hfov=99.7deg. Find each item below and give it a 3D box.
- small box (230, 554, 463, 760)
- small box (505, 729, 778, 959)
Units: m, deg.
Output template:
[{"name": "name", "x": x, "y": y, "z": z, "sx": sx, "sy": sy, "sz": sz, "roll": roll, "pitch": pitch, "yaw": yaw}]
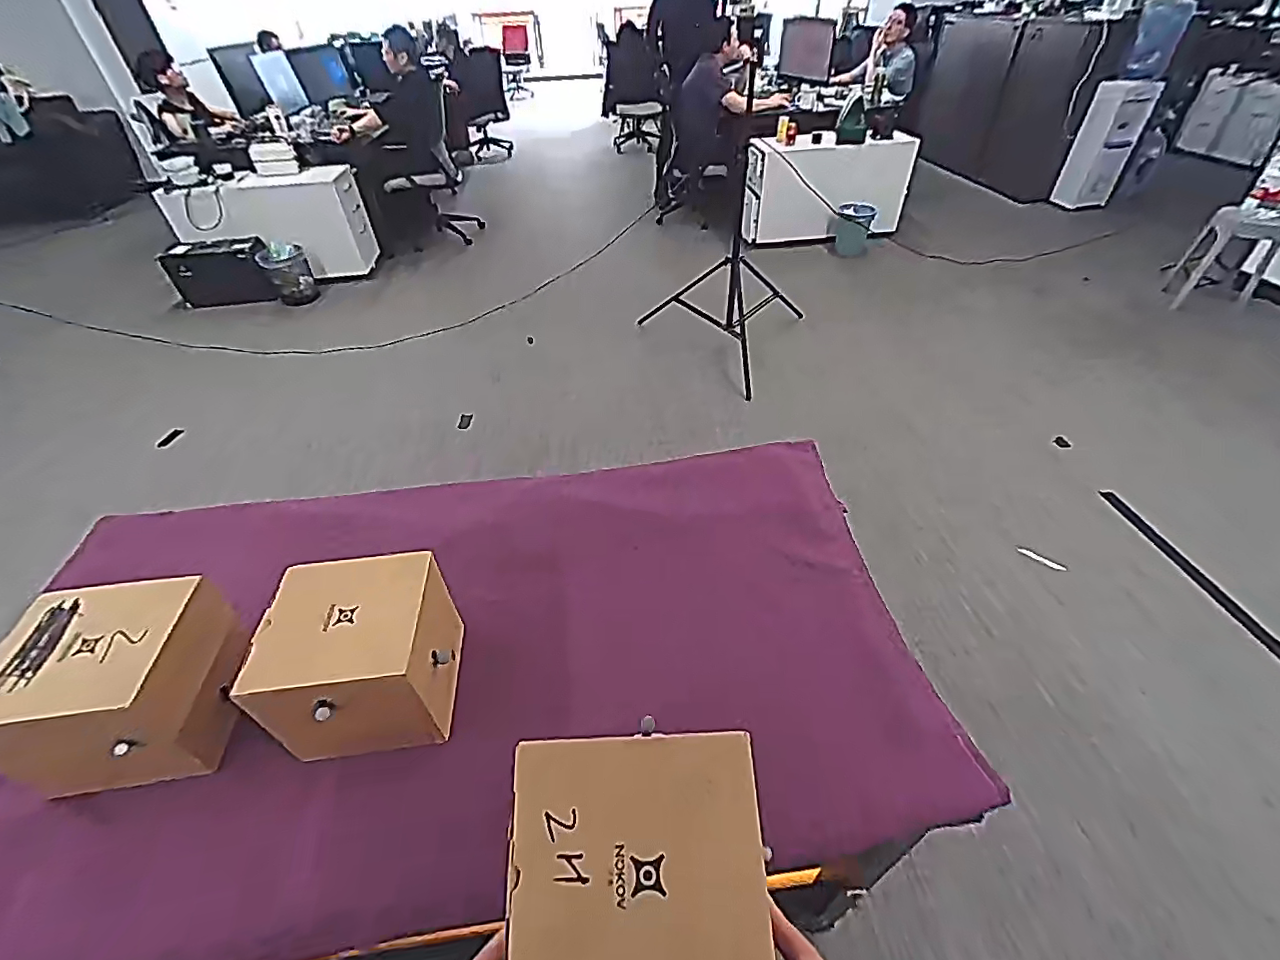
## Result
[{"name": "small box", "x": -0.326, "y": 0.213, "z": 0.651, "sx": 0.179, "sy": 0.176, "sz": 0.168, "roll": -7, "pitch": 42, "yaw": -3}, {"name": "small box", "x": 0.003, "y": 0.294, "z": 0.435, "sx": 0.179, "sy": 0.176, "sz": 0.168, "roll": -4, "pitch": 64, "yaw": 3}]
